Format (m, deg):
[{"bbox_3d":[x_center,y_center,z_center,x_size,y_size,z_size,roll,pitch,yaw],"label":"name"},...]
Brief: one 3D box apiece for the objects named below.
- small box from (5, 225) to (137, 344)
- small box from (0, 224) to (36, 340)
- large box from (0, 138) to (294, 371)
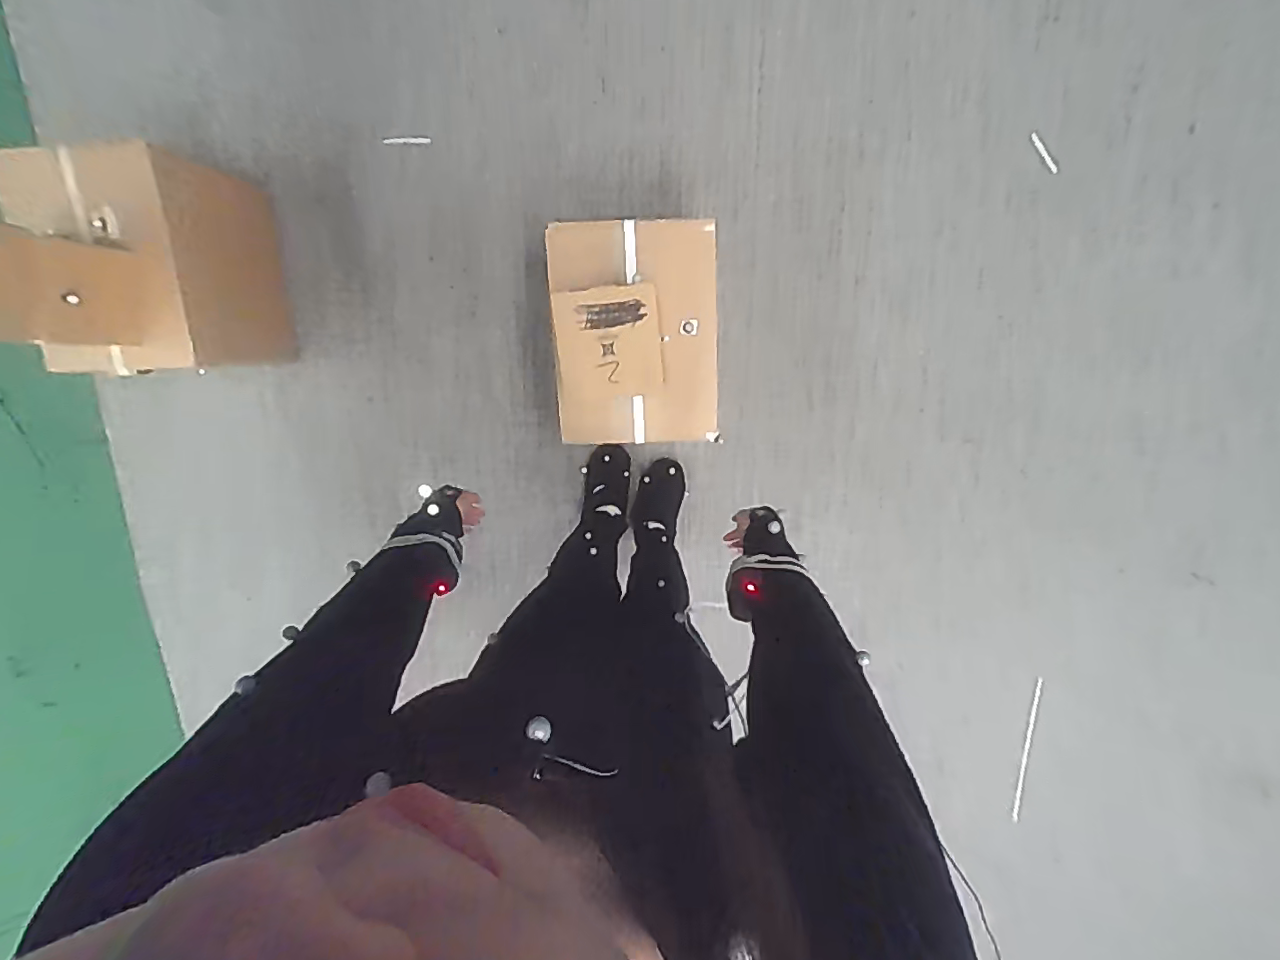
[{"bbox_3d":[-1.036,-0.339,0.943,0.168,0.176,0.179,10,105,0],"label":"small box"},{"bbox_3d":[-1.048,-0.308,0.784,0.168,0.176,0.179,13,106,0],"label":"small box"},{"bbox_3d":[-1.022,-0.449,1.165,0.320,0.320,0.408,-1,103,2],"label":"large box"}]
